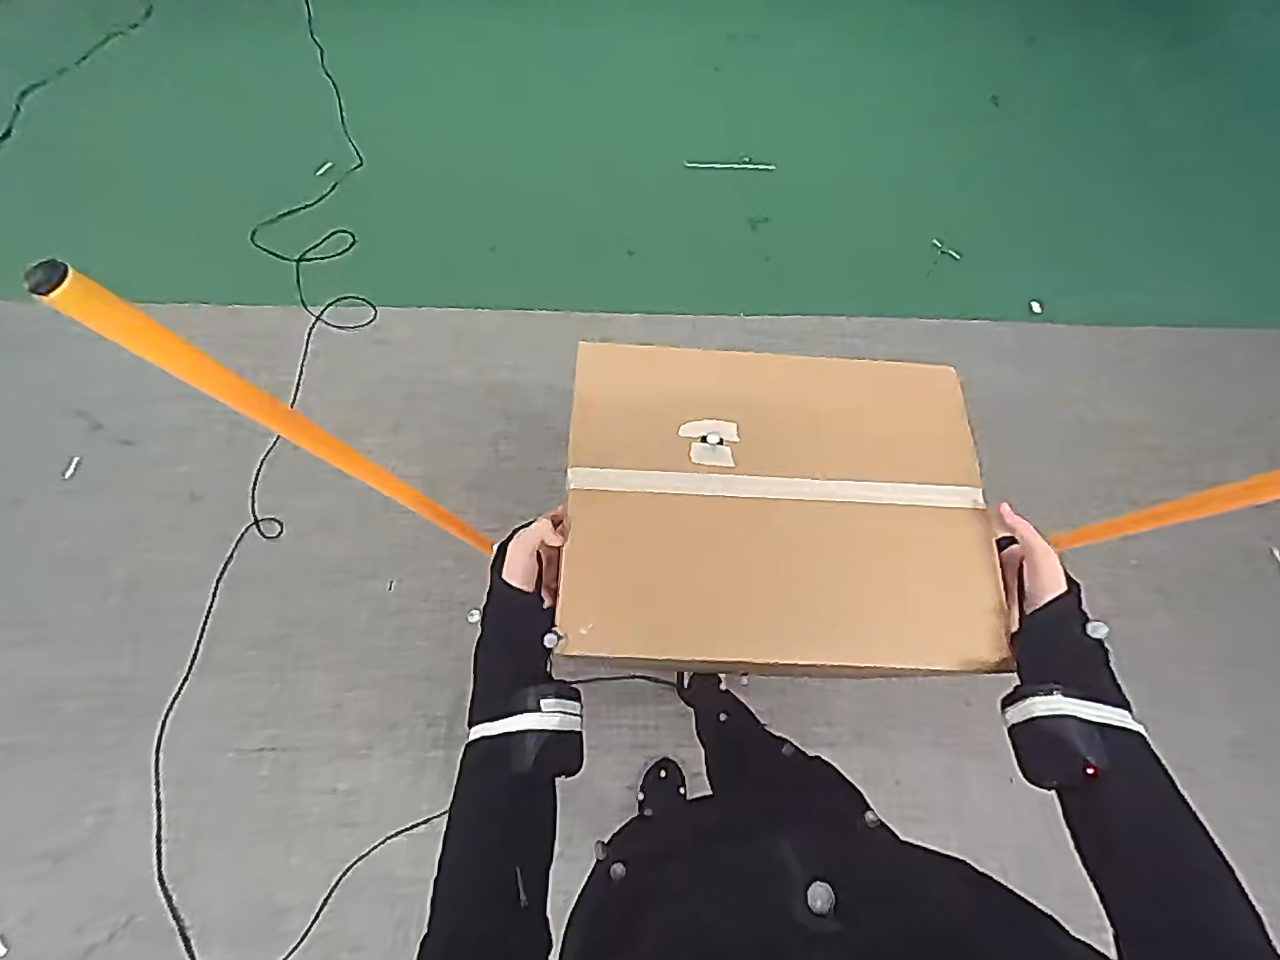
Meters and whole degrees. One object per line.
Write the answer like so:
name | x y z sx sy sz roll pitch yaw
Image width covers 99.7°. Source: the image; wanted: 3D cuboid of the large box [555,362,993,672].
large box | 0.120 0.073 0.671 0.408 0.320 0.320 2 68 -2
